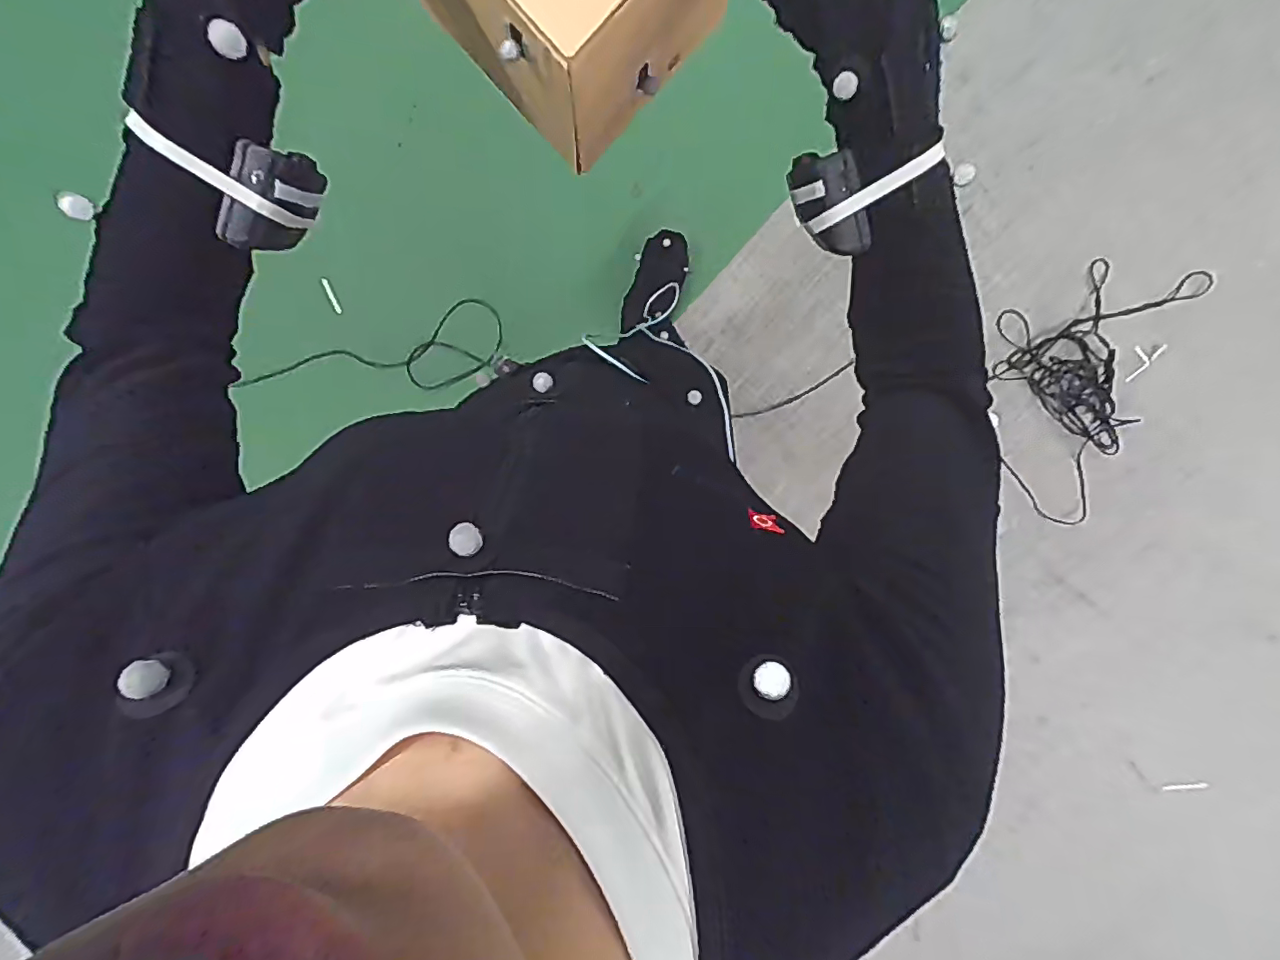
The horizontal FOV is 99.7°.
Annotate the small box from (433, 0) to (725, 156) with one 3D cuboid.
[{"bbox_3d":[-0.044,-0.360,0.351,0.179,0.176,0.168,44,95,-13],"label":"small box"}]
